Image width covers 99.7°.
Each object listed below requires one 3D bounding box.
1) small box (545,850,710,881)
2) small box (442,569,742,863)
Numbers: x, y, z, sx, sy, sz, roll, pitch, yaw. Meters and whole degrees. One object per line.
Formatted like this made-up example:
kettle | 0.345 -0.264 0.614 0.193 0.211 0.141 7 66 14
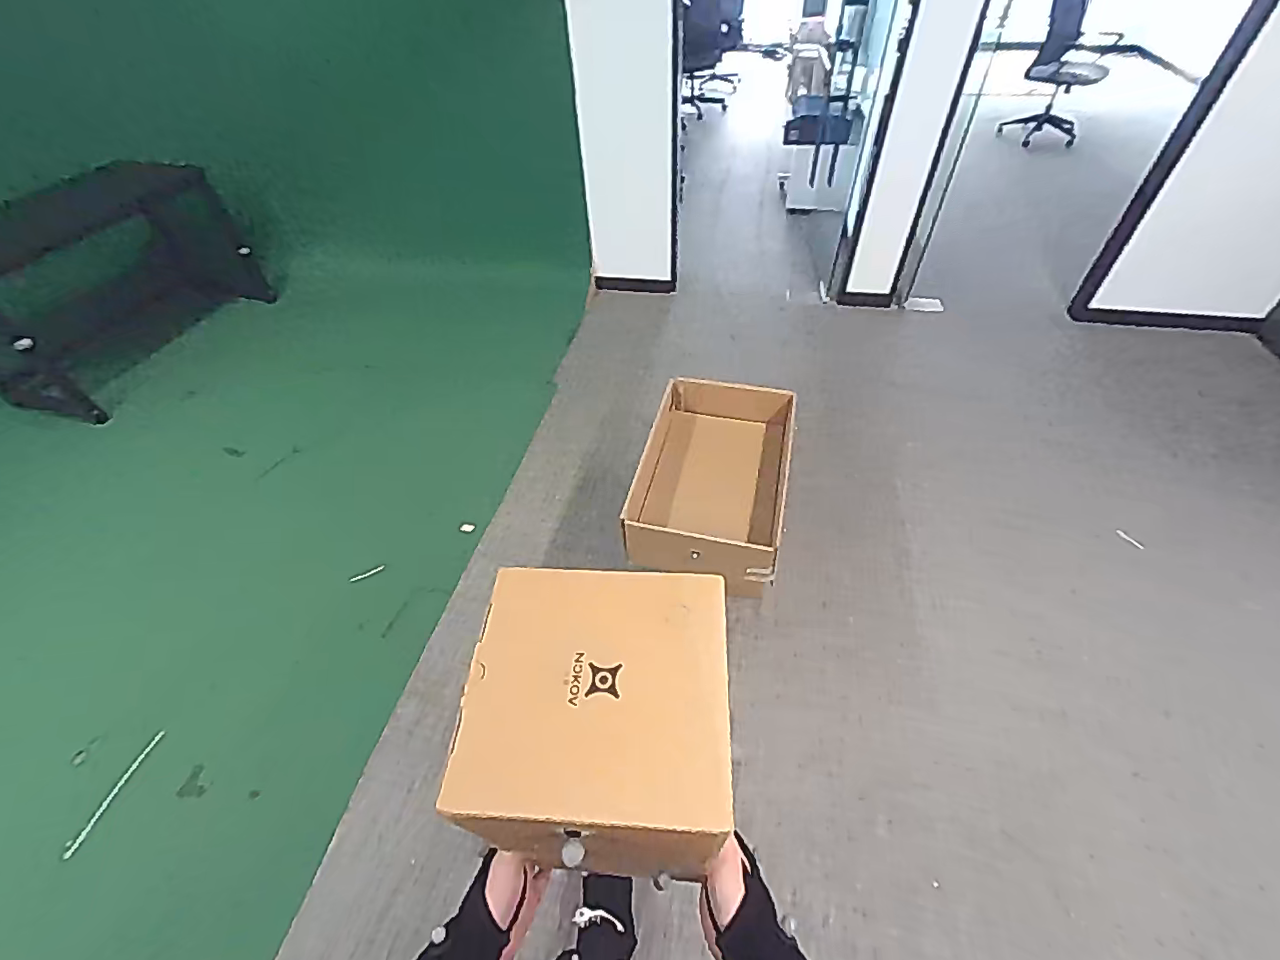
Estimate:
small box | -0.004 0.388 0.676 0.179 0.176 0.168 3 50 6
small box | -0.020 0.186 0.419 0.179 0.176 0.168 1 50 5
